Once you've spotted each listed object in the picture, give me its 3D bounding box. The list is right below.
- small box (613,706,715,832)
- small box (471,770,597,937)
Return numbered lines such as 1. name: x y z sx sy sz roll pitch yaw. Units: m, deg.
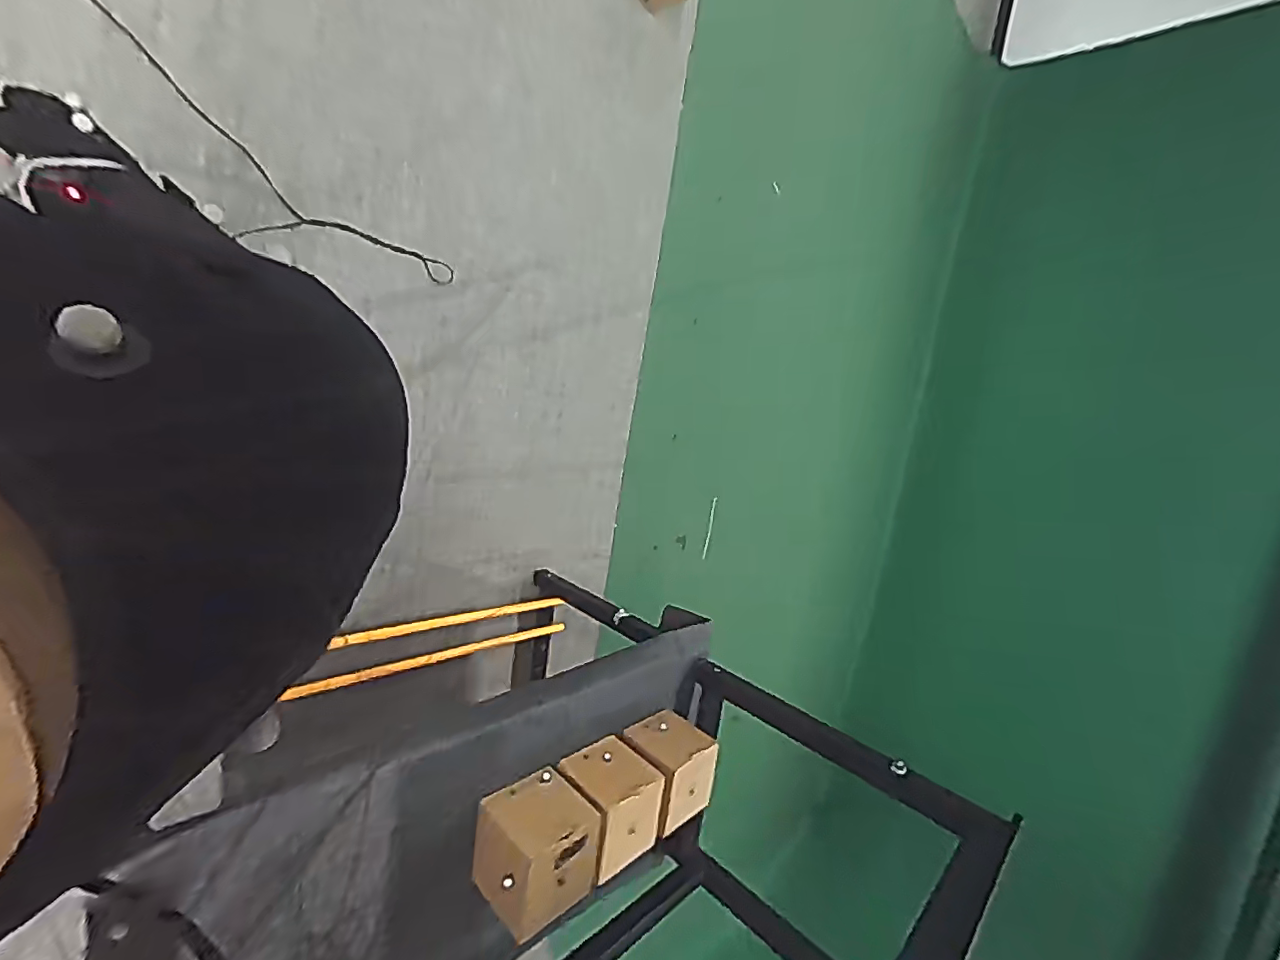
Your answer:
1. small box: 0.053 0.686 1.305 0.168 0.176 0.179 -3 105 -46
2. small box: -0.206 0.692 1.035 0.168 0.176 0.179 -2 105 -46
